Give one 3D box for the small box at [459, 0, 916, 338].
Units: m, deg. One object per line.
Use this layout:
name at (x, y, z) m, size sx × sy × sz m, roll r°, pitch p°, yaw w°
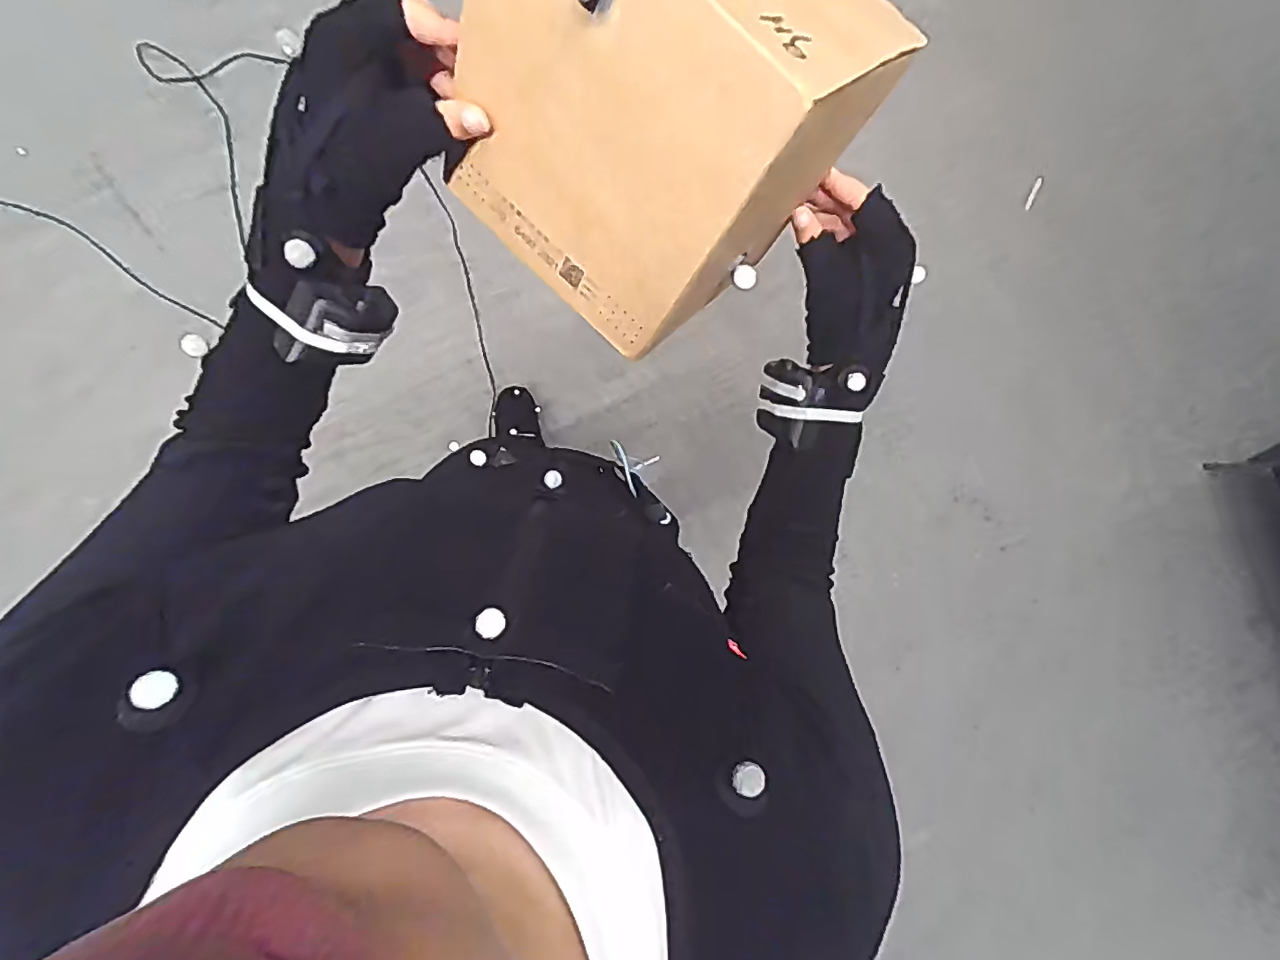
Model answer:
small box at (0.018, -0.221, 0.320) m, size 0.168 × 0.176 × 0.179 m, roll 44°, pitch 54°, yaw -1°
